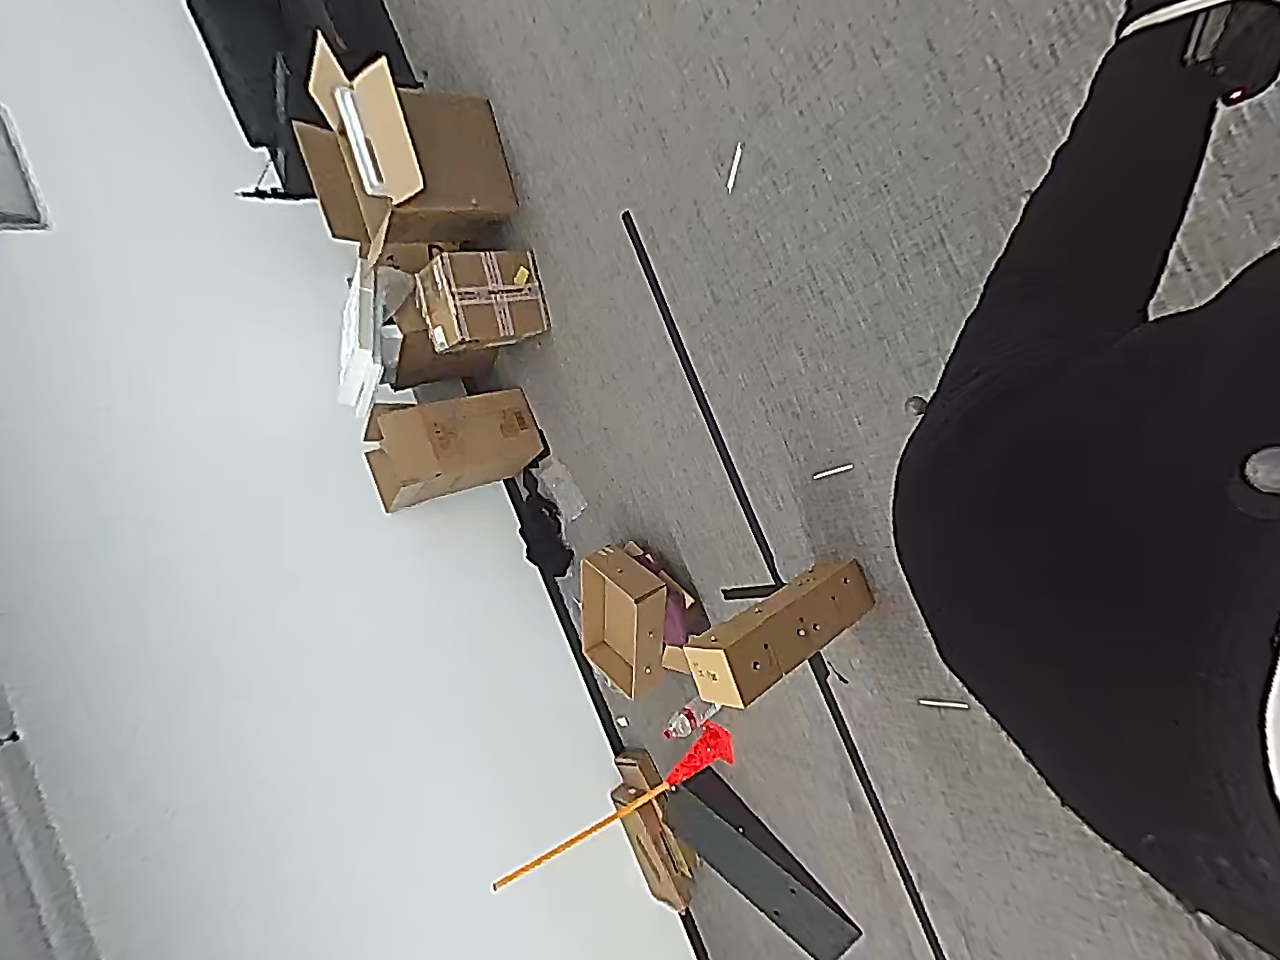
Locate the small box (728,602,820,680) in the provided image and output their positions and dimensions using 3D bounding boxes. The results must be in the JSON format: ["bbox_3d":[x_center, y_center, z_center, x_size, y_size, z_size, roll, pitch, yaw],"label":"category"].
[{"bbox_3d":[0.394,0.472,1.597,0.179,0.176,0.168,-28,83,54],"label":"small box"}]

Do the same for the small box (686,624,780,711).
[{"bbox_3d":[0.265,0.512,1.504,0.179,0.176,0.168,-20,89,55],"label":"small box"}]

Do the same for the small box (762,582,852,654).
[{"bbox_3d":[0.523,0.432,1.692,0.179,0.176,0.168,-28,83,55],"label":"small box"}]

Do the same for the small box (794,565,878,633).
[{"bbox_3d":[0.649,0.389,1.788,0.168,0.176,0.179,-25,87,55],"label":"small box"}]
